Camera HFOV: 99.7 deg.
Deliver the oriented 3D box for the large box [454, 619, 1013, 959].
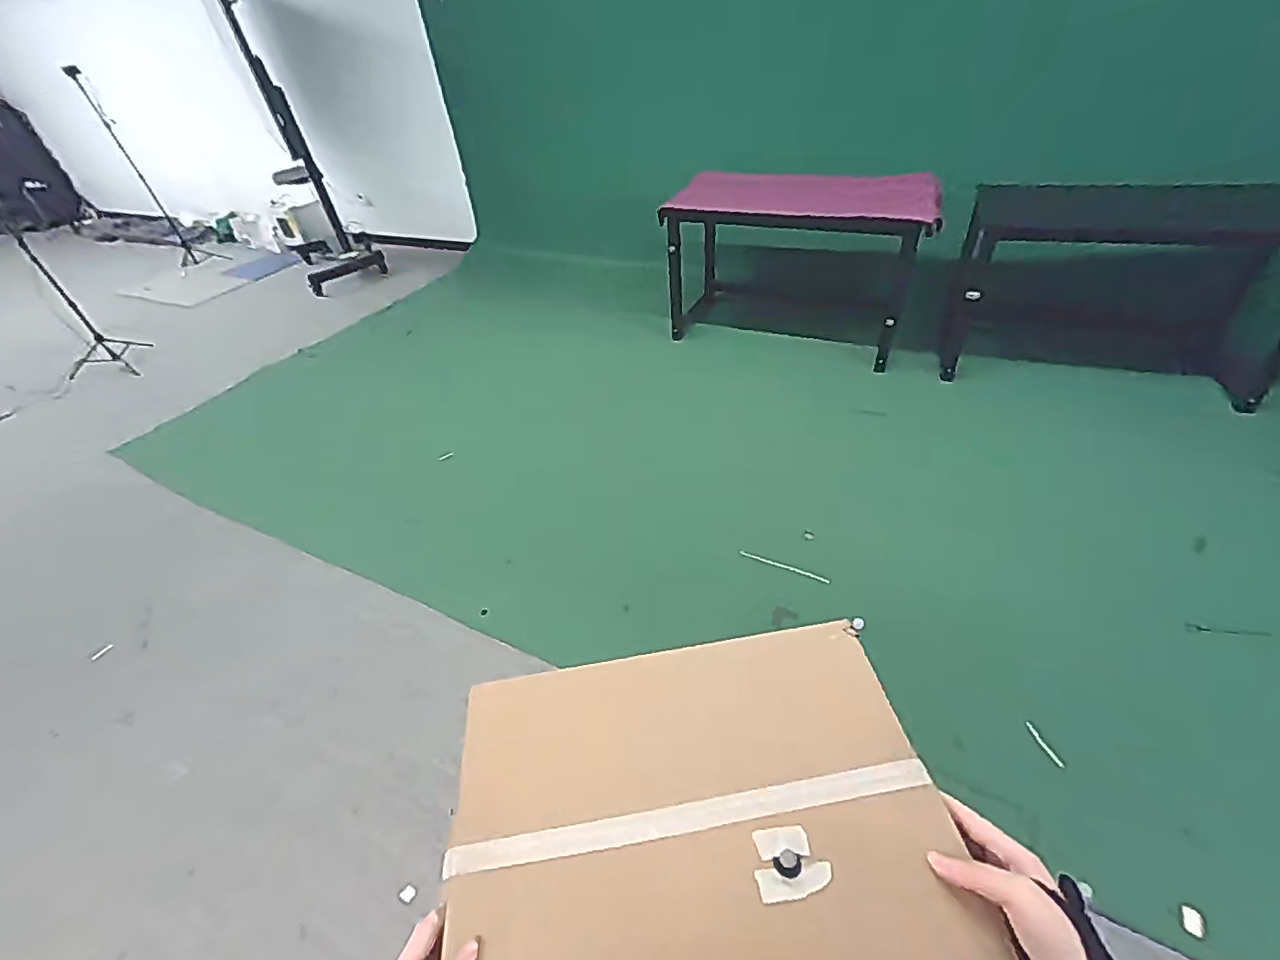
[{"bbox_3d":[0.056,0.393,0.563,0.408,0.320,0.320,-9,42,-3],"label":"large box"}]
